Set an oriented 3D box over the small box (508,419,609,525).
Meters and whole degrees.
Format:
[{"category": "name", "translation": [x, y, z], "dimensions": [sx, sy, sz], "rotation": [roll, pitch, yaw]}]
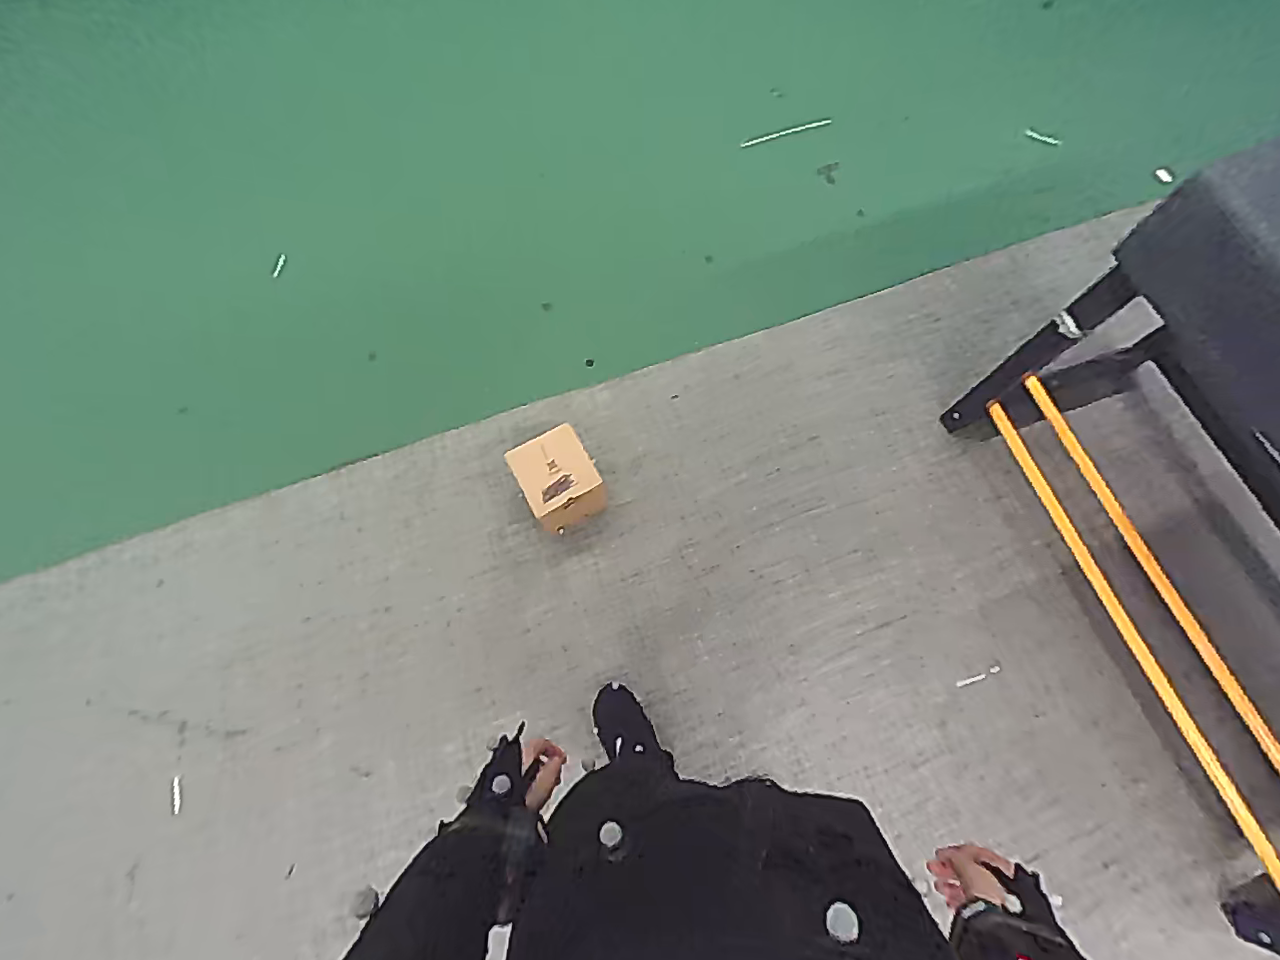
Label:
[{"category": "small box", "translation": [-0.184, -0.008, 1.275], "dimensions": [0.168, 0.176, 0.179], "rotation": [-28, 72, -9]}]
